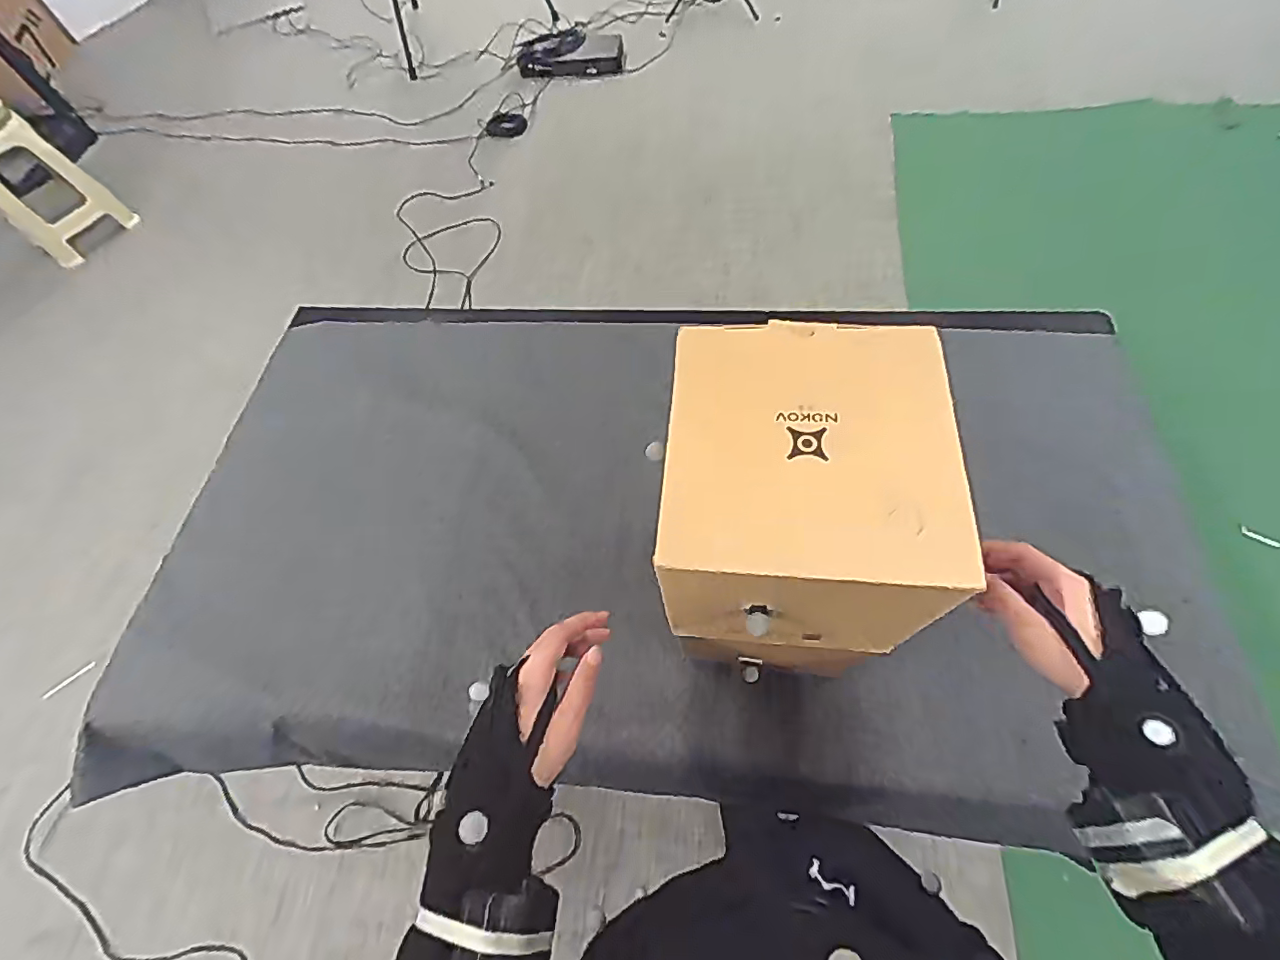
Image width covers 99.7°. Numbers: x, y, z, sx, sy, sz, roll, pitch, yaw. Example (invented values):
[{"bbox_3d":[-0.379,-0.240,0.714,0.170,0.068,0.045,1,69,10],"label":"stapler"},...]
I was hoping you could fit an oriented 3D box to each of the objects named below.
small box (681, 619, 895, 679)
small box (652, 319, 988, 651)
[{"bbox_3d":[0.131,0.082,0.523,0.168,0.176,0.179,3,63,10],"label":"small box"},{"bbox_3d":[0.107,0.013,0.378,0.168,0.176,0.179,2,61,9],"label":"small box"}]
